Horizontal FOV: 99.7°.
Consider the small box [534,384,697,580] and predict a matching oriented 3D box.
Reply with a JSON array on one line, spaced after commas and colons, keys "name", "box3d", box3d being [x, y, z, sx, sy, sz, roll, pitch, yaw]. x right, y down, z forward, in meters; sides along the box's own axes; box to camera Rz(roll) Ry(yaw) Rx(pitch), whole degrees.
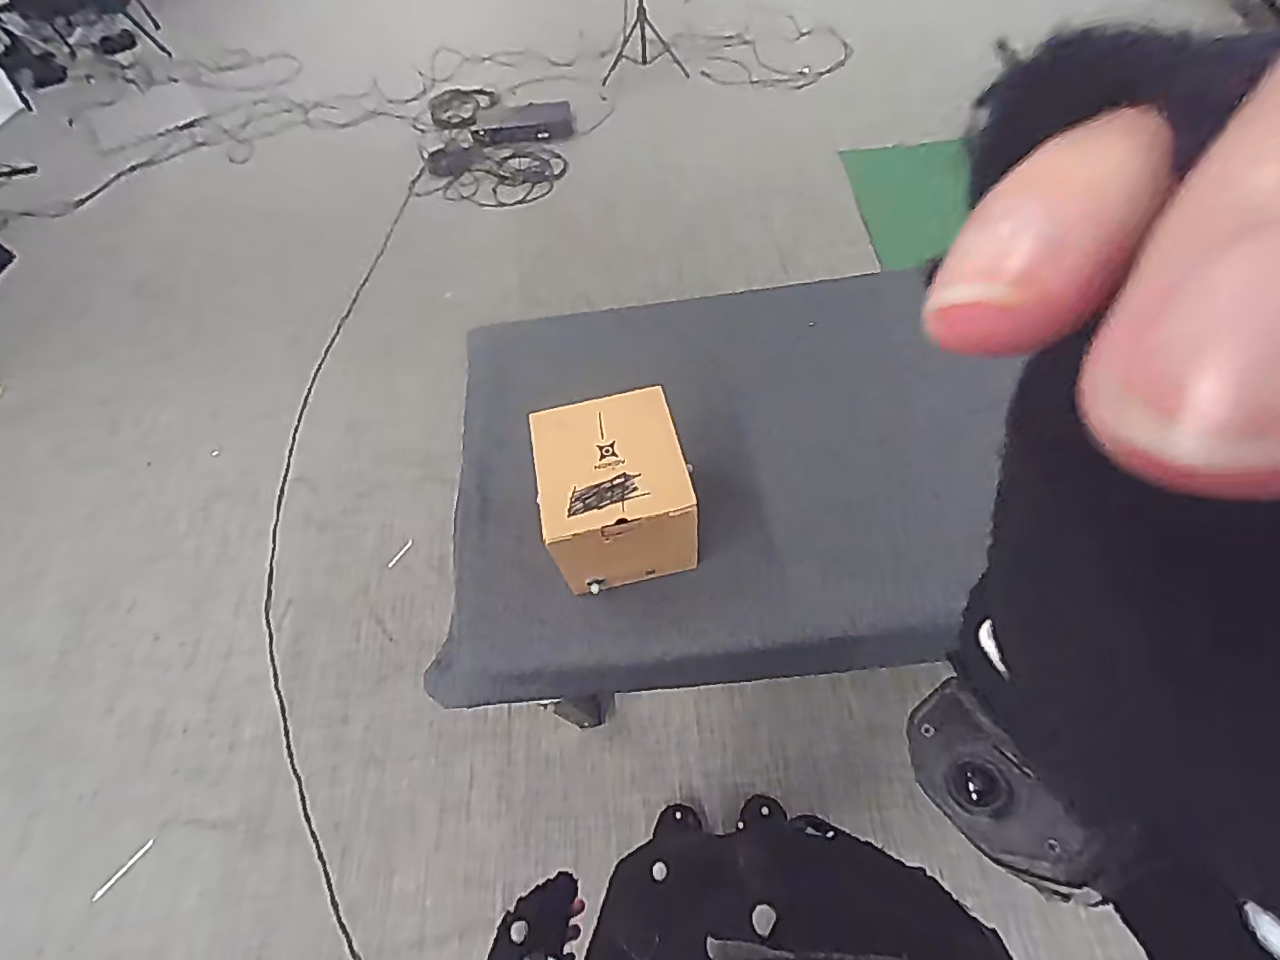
[{"name": "small box", "box3d": [-0.026, 0.013, 0.680, 0.168, 0.176, 0.179, -12, 58, -2]}]
